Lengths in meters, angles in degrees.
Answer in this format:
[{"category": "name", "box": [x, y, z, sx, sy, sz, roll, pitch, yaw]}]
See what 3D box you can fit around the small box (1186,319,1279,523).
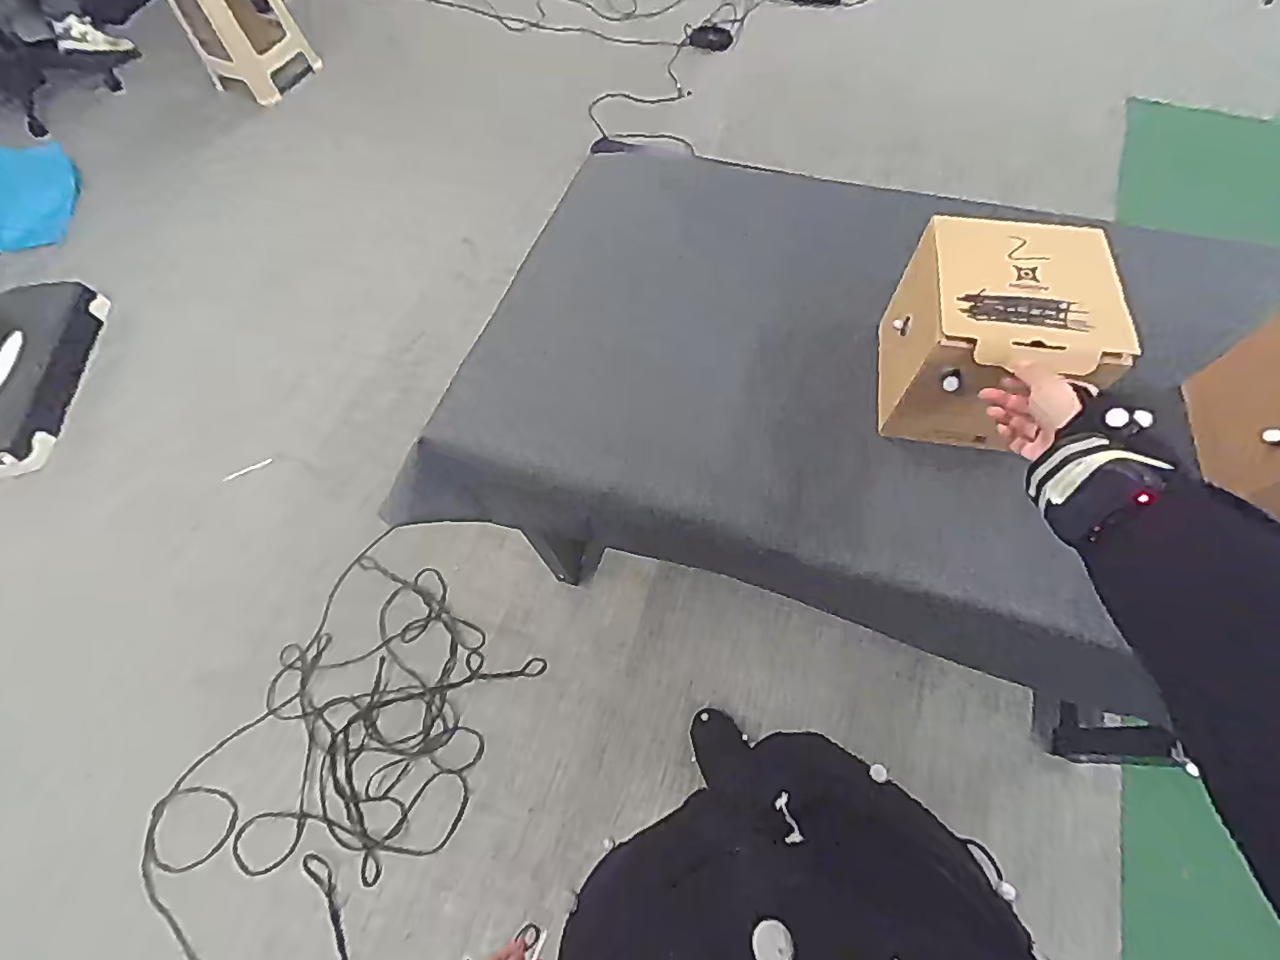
[{"category": "small box", "box": [0.702, -0.056, 0.525, 0.168, 0.176, 0.179, 11, 64, 7]}]
